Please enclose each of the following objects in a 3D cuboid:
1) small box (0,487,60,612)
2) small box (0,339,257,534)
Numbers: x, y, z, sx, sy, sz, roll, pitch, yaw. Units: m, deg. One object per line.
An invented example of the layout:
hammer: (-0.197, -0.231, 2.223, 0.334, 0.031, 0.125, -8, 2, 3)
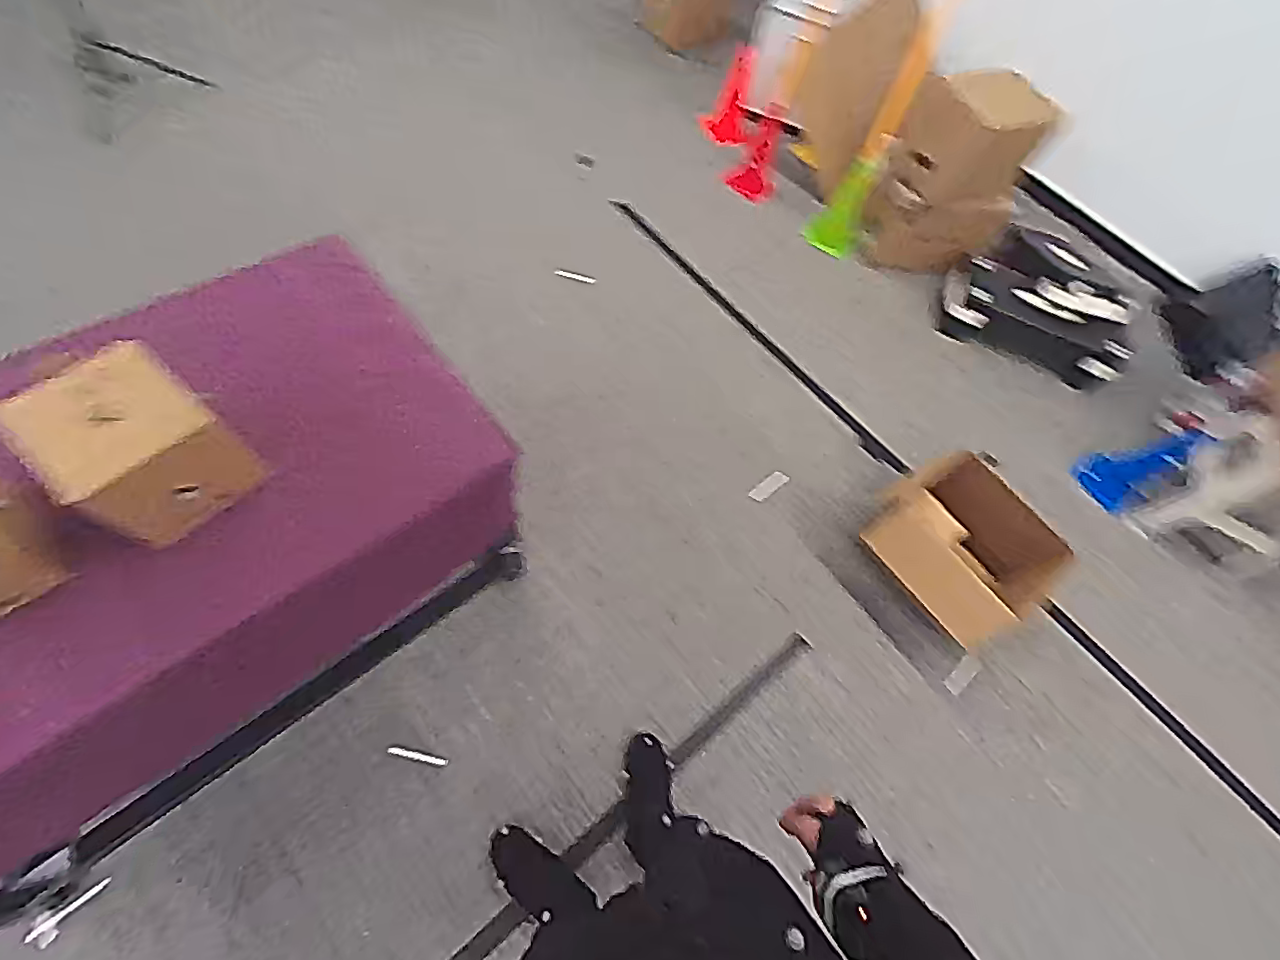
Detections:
small box: (-0.876, 0.080, 0.641, 0.168, 0.176, 0.179, -39, 77, -24)
small box: (-0.677, -0.047, 0.736, 0.179, 0.176, 0.168, 40, 64, 10)
